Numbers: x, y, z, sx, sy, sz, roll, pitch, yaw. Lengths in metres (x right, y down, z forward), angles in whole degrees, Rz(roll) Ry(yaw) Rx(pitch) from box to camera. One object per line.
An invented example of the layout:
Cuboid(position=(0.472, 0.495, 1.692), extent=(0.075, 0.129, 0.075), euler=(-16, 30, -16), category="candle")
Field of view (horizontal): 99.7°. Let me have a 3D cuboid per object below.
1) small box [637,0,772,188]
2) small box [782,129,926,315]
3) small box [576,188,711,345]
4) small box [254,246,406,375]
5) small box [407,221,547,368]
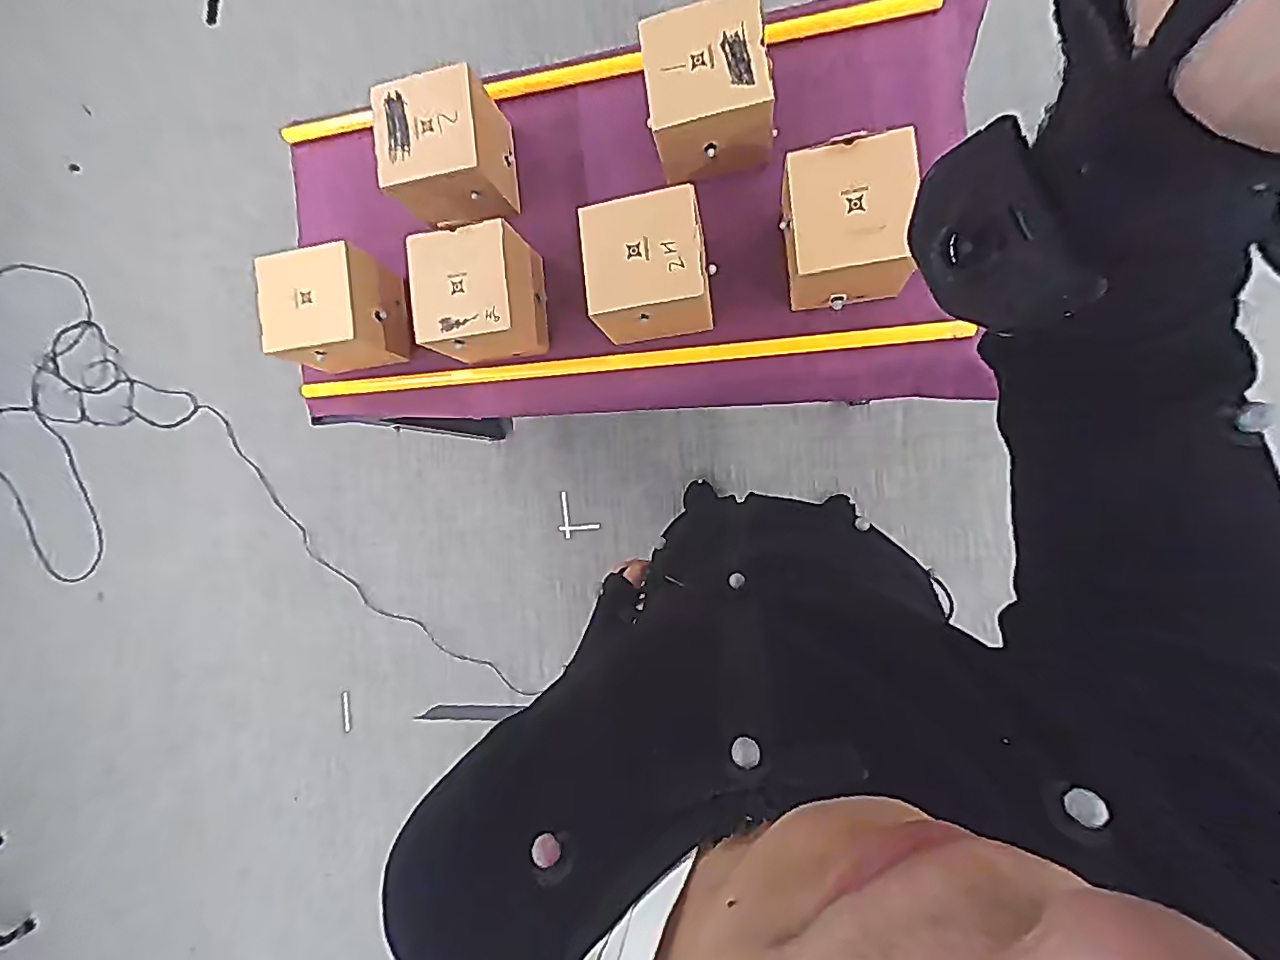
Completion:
Cuboid(position=(0.104, -0.588, 0.839), extent=(0.179, 0.176, 0.168), euler=(-7, 90, 12), category="small box")
Cuboid(position=(0.301, -0.364, 0.796), extent=(0.168, 0.176, 0.179), euler=(-5, 87, 13), category="small box")
Cuboid(position=(0.012, -0.323, 0.857), extent=(0.179, 0.176, 0.168), euler=(-6, 88, 11), category="small box")
Cuboid(position=(-0.542, -0.294, 0.971), extent=(0.179, 0.176, 0.168), euler=(-6, 88, 11), category="small box")
Cuboid(position=(-0.268, -0.302, 0.915), extent=(0.168, 0.176, 0.179), euler=(-5, 89, 13), category="small box")
